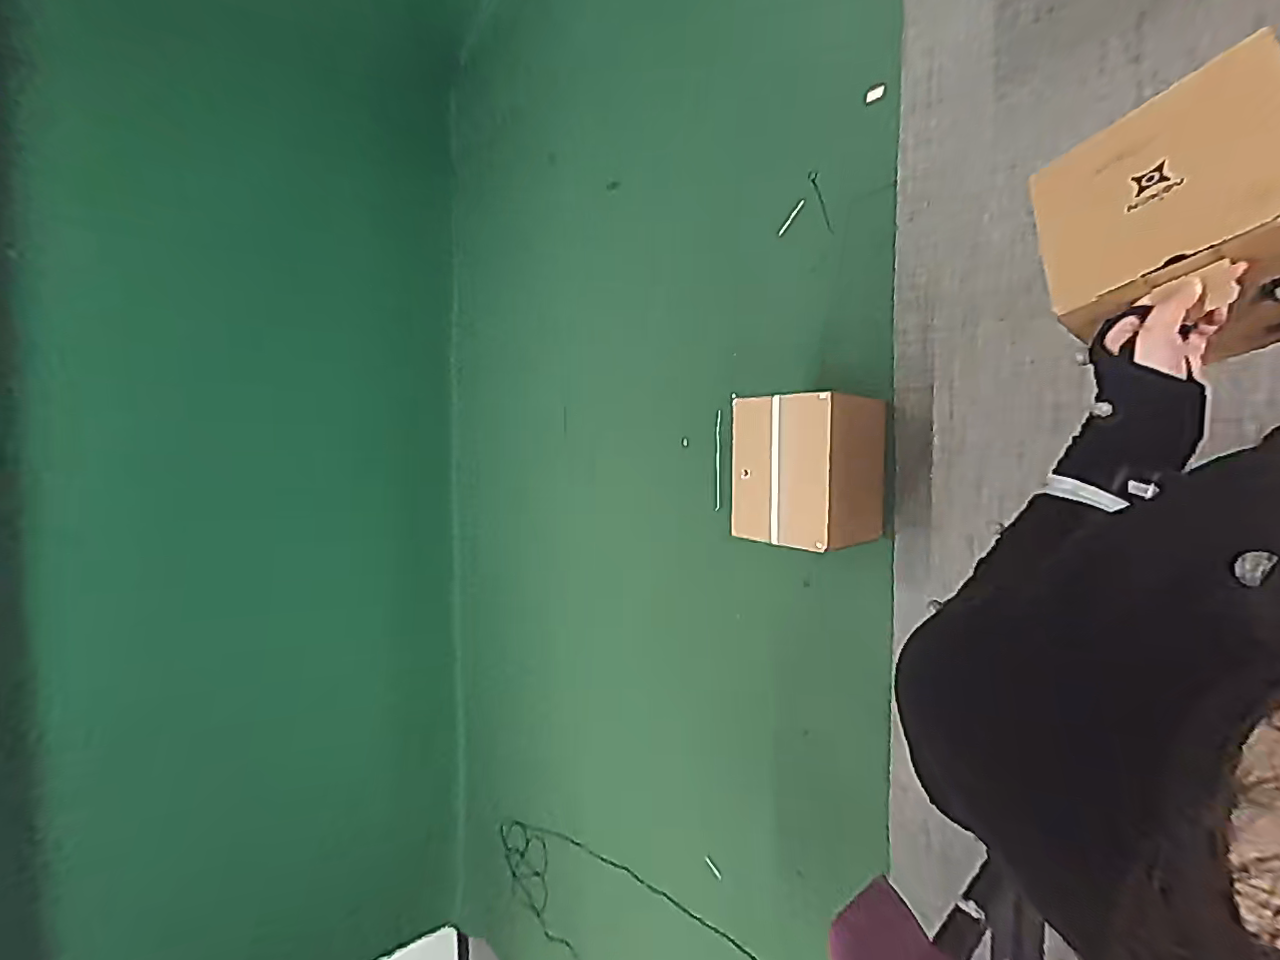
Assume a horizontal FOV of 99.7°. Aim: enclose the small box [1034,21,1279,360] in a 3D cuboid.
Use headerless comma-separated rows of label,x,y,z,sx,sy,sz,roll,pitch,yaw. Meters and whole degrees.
small box,0.491,-0.228,0.480,0.168,0.176,0.179,-23,51,55
